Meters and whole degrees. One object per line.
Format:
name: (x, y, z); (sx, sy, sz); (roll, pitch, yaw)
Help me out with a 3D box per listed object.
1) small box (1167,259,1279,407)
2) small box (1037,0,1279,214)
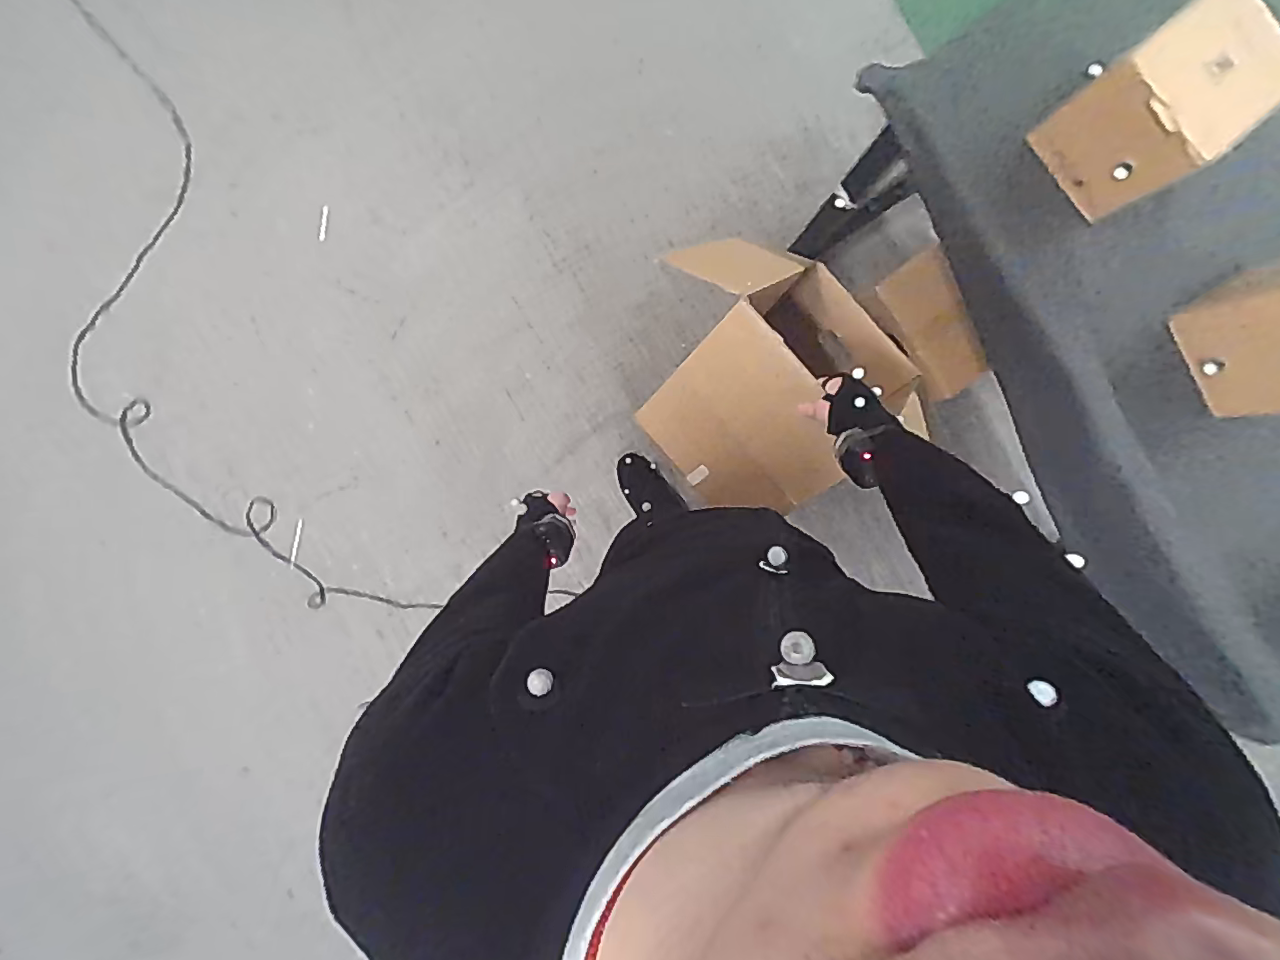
small box: (0.915, -0.212, 0.754); (0.168, 0.176, 0.179); (-30, 94, 0)
small box: (0.691, -0.505, 0.734); (0.179, 0.176, 0.168); (-41, 95, -2)
